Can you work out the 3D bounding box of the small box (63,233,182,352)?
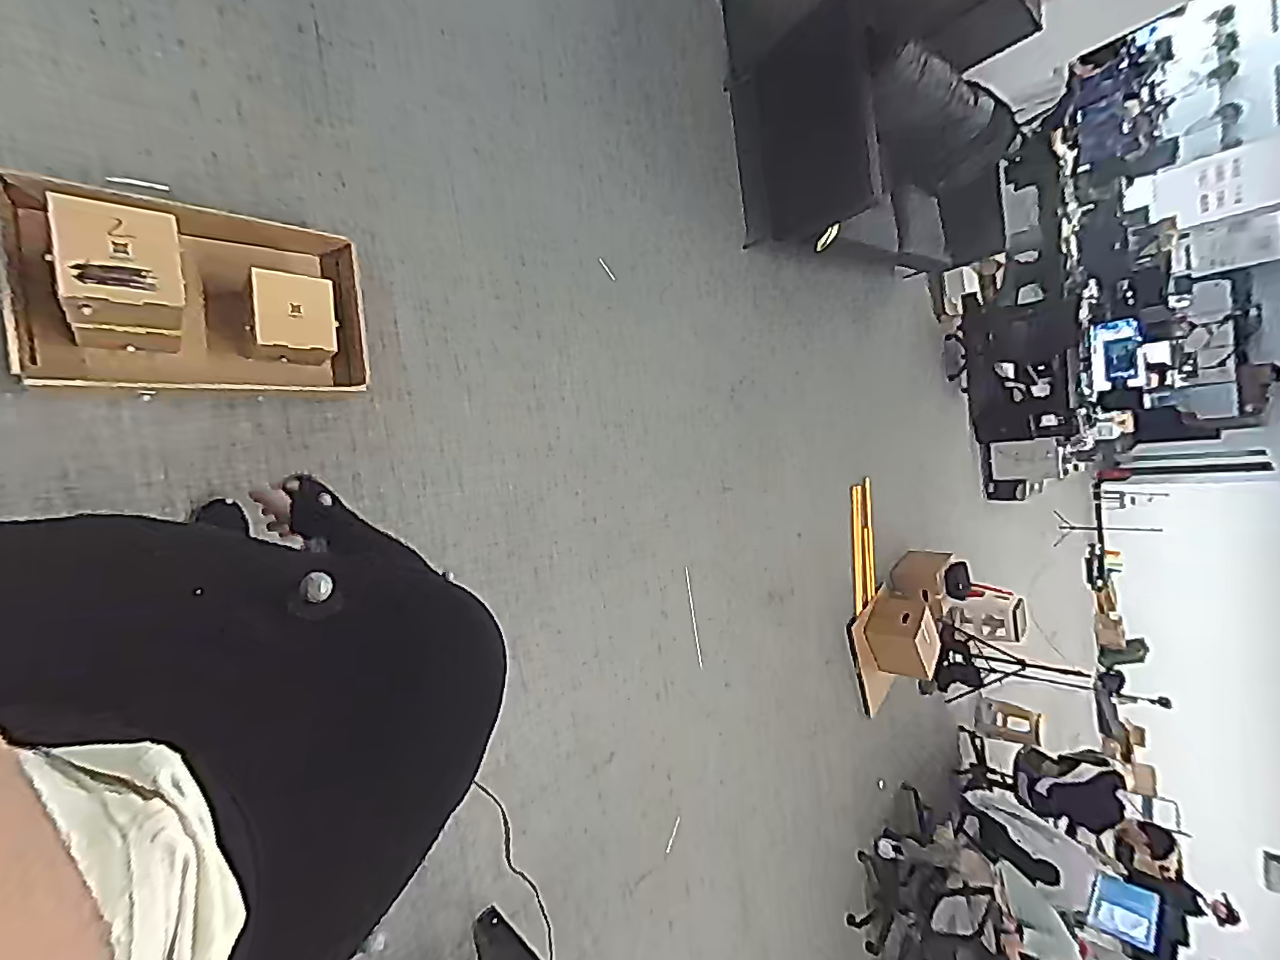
[{"bbox_3d":[-1.077,-0.380,1.129,0.168,0.176,0.179,-6,90,-43],"label":"small box"}]
